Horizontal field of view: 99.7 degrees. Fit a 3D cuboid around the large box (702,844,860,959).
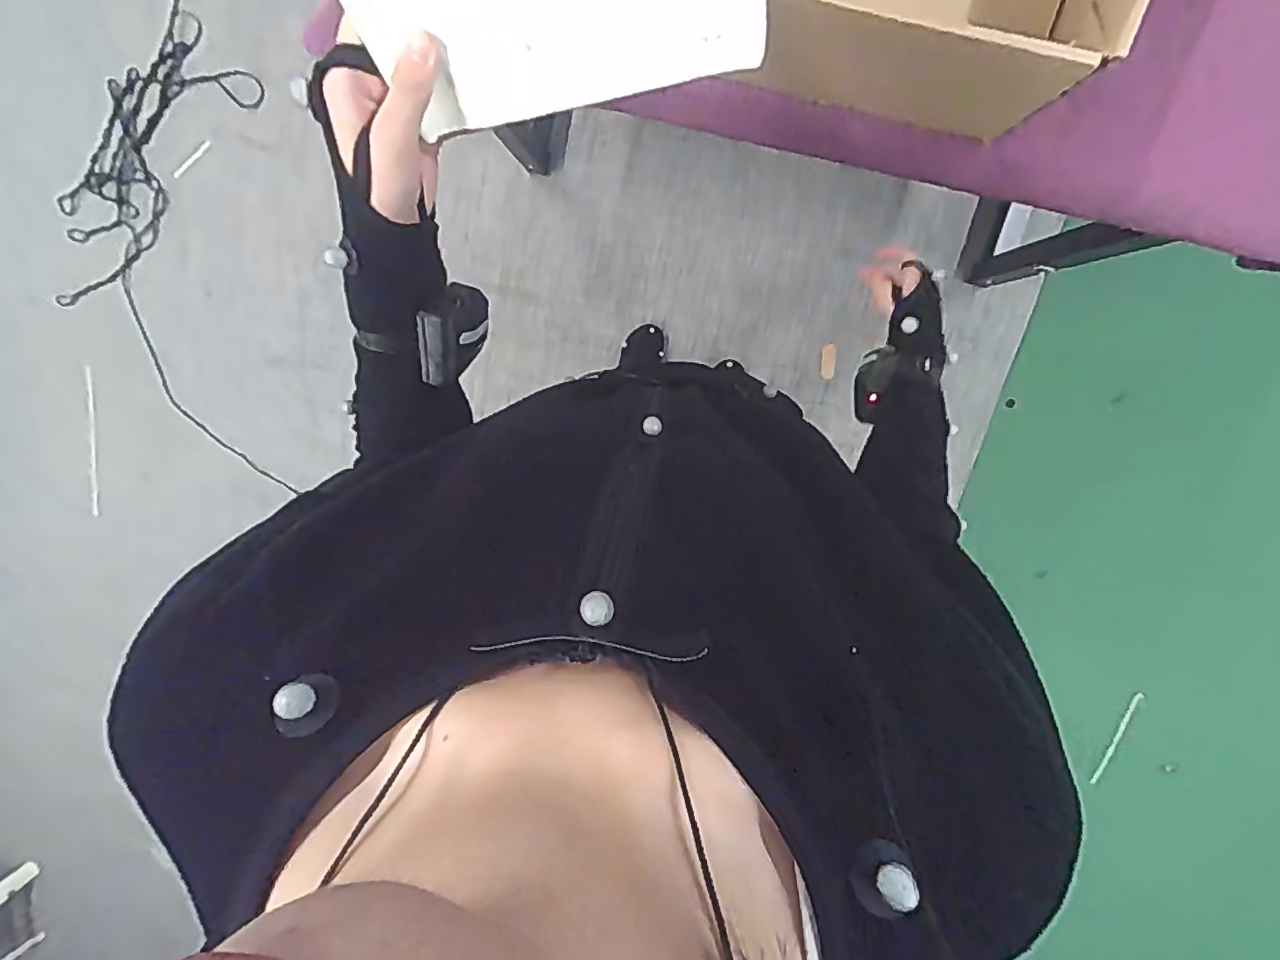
[{"bbox_3d":[0.397,1.347,1.611,0.408,0.320,0.320,-1,103,4],"label":"large box"}]
